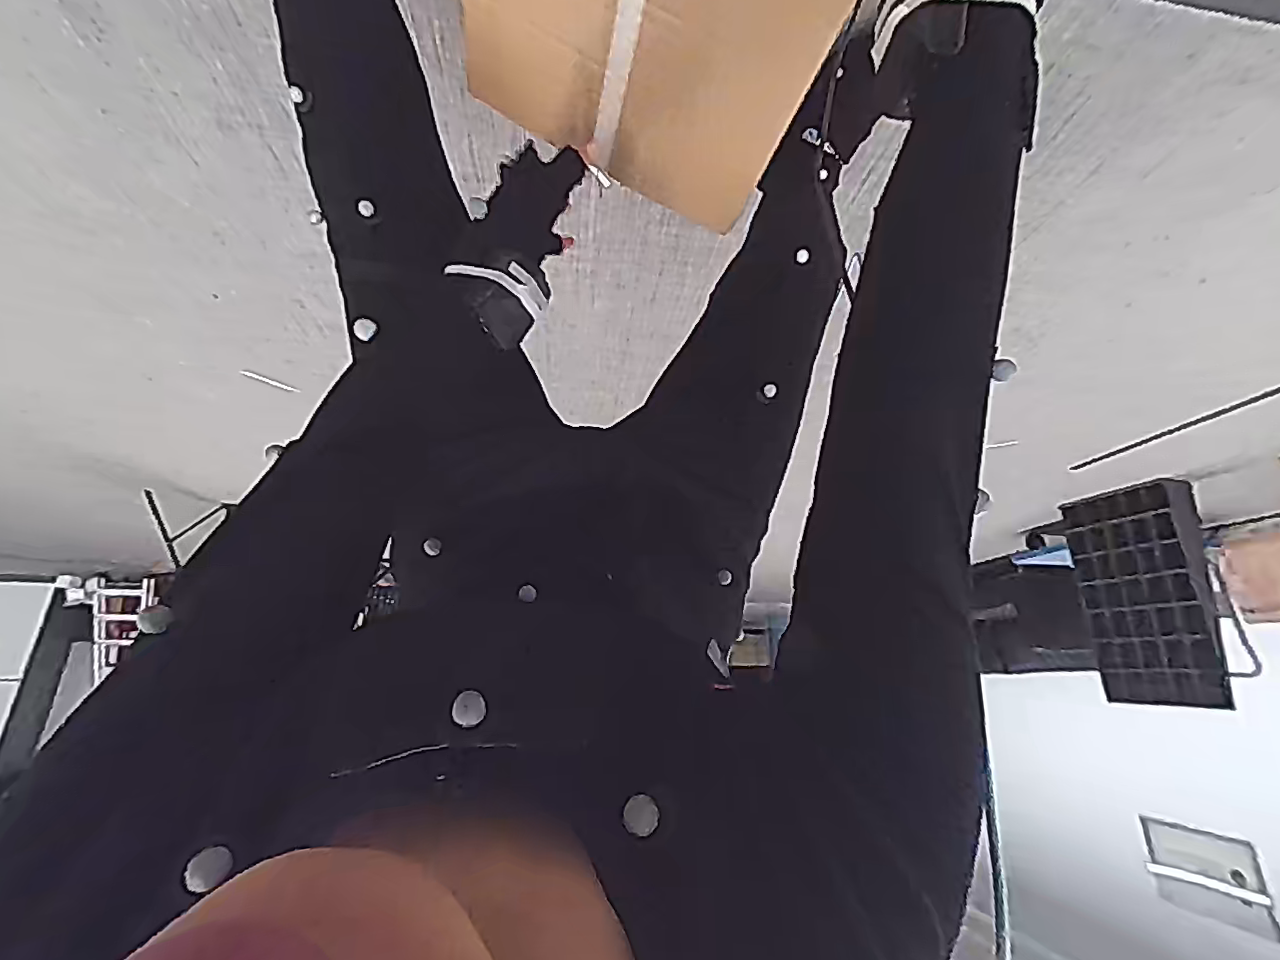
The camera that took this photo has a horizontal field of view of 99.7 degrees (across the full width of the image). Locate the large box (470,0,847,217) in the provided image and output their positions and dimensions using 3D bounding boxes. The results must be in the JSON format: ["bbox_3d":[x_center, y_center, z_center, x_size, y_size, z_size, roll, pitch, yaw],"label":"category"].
[{"bbox_3d":[0.066,-0.540,0.456,0.320,0.320,0.408,27,156,-4],"label":"large box"}]
